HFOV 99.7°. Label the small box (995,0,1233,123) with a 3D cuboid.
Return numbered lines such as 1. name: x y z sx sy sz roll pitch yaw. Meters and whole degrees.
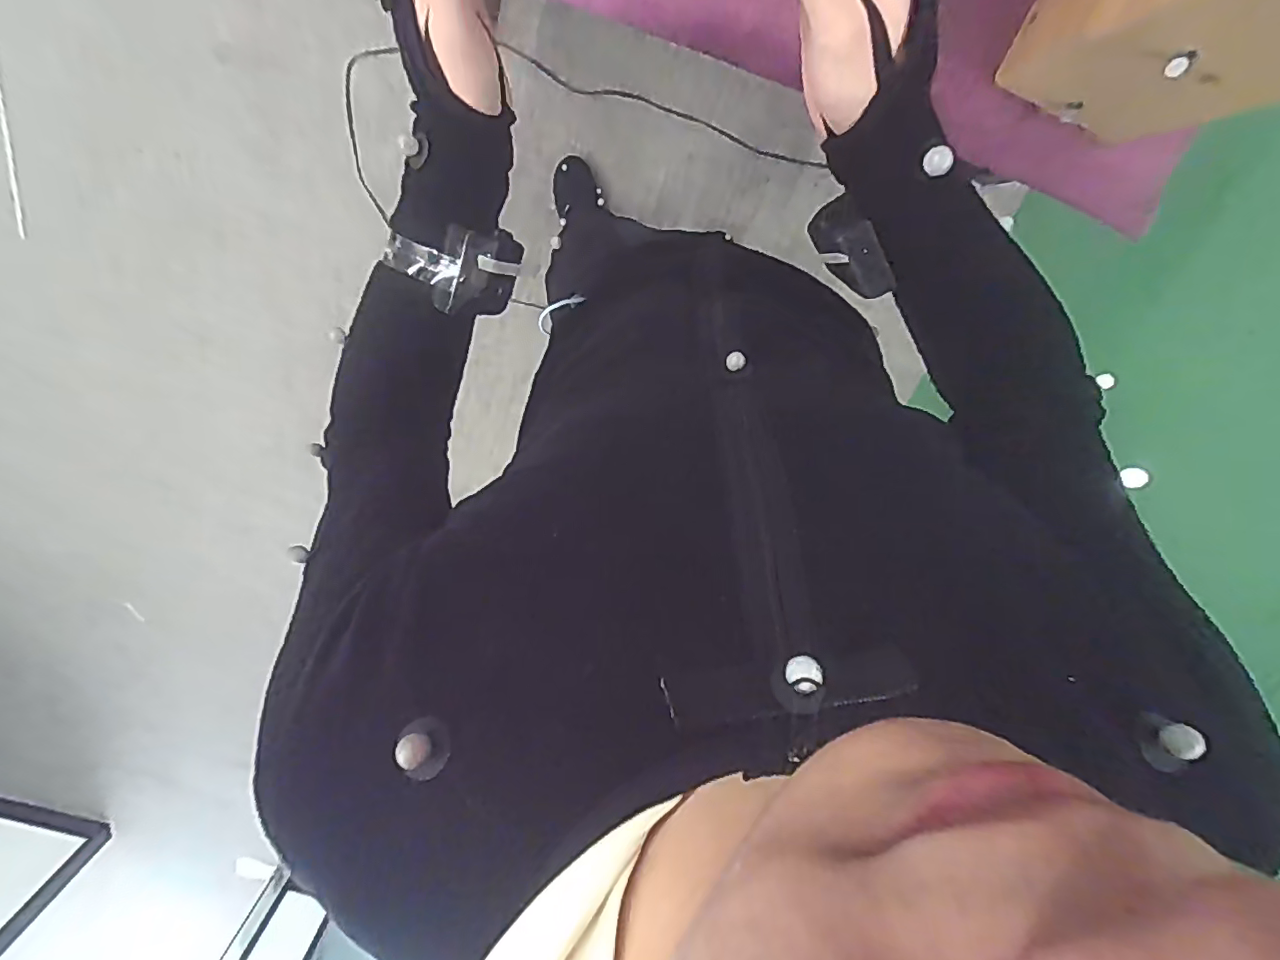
1. small box: 0.522 -0.493 0.551 0.179 0.176 0.168 21 113 -5
